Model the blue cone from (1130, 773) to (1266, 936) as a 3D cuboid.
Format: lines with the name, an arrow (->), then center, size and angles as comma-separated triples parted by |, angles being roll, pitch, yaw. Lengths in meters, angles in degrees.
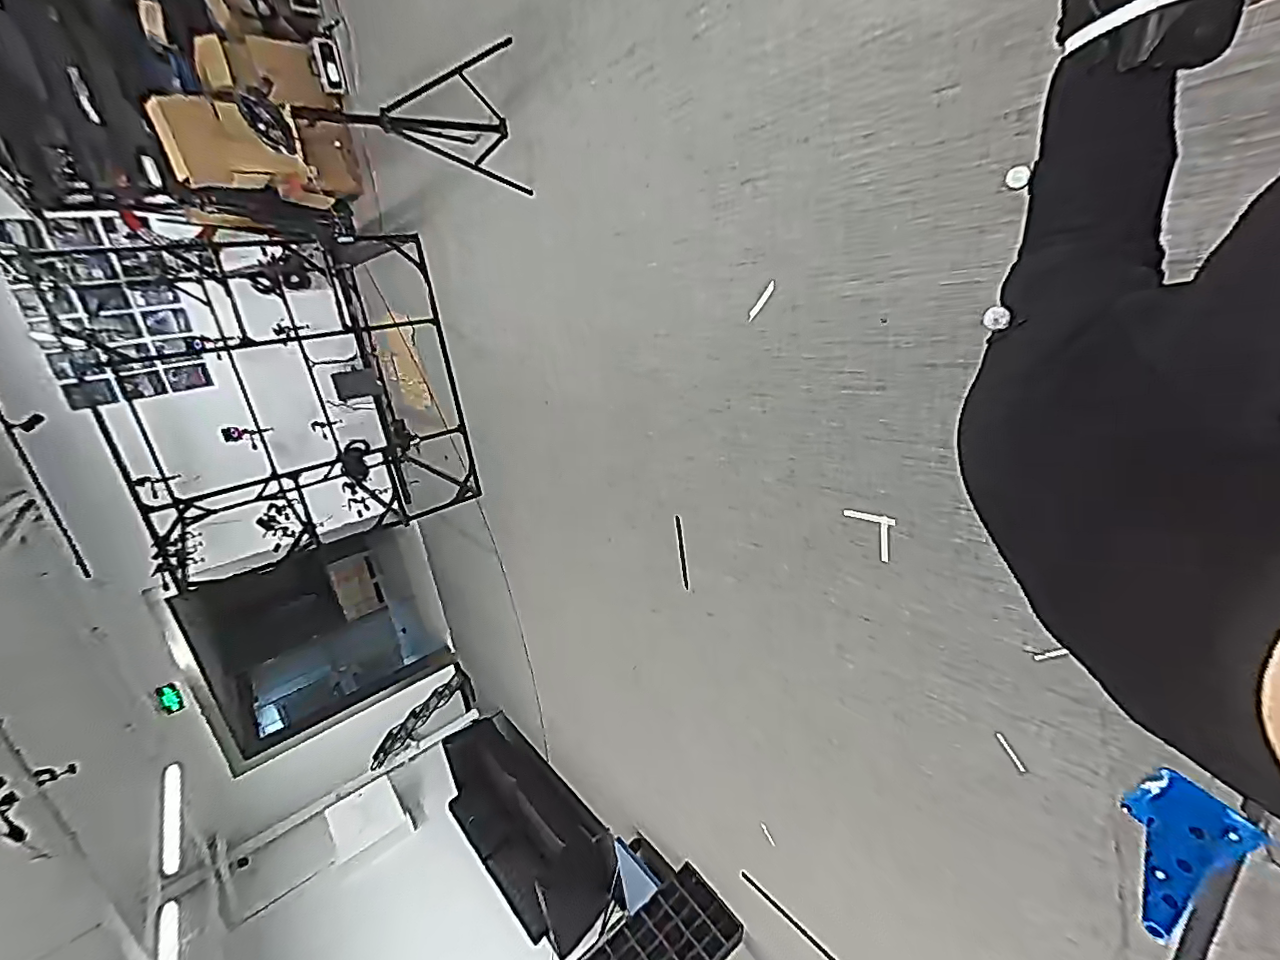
blue cone -> 1.217, 0.869, 1.221 | 0.193, 0.380, 0.192 | 40, 137, 36
